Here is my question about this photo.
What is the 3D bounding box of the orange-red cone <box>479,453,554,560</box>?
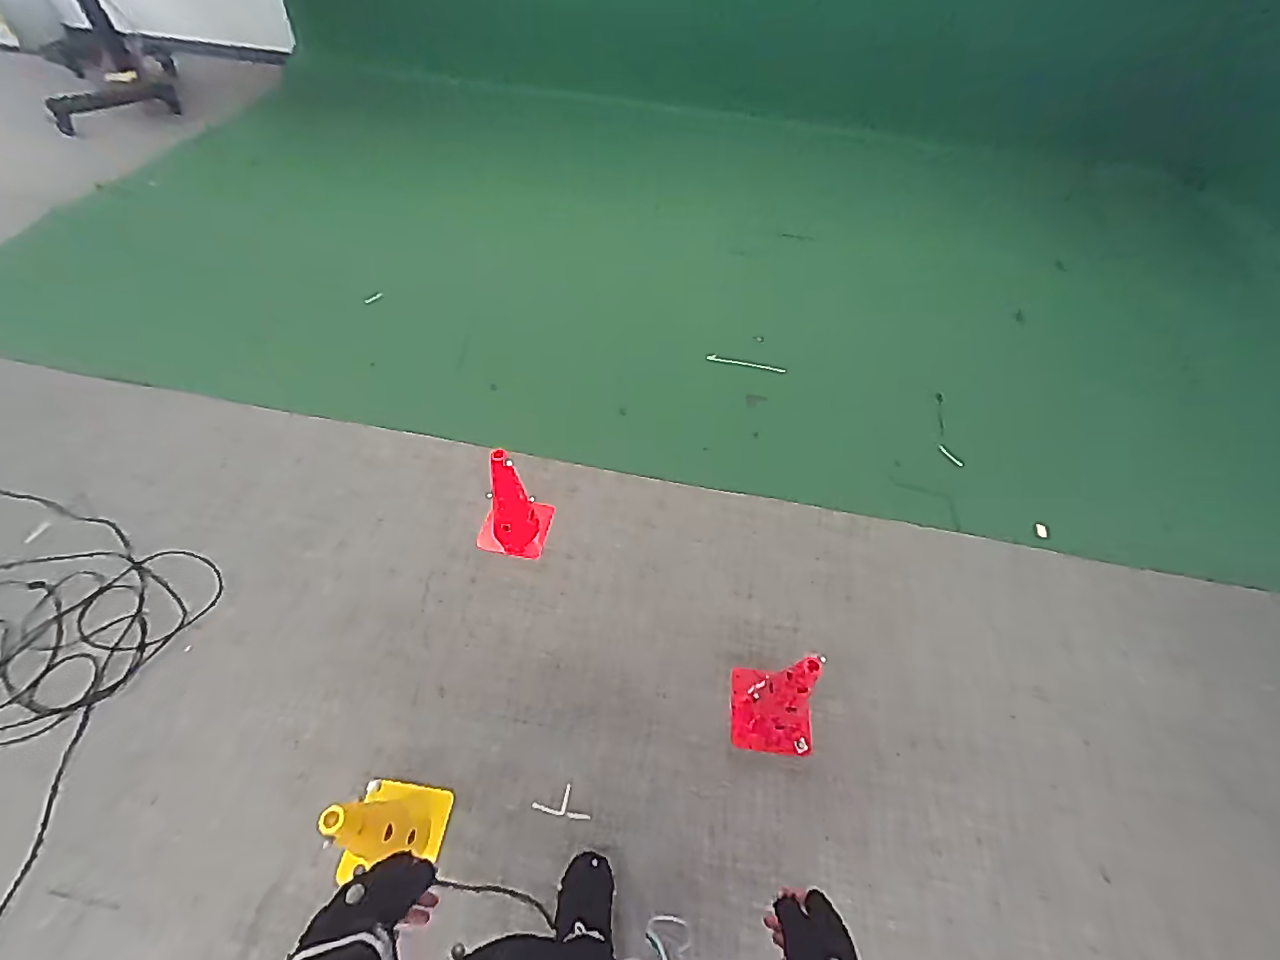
[{"bbox_3d":[-0.377,0.050,1.543,0.198,0.360,0.199,10,54,5],"label":"orange-red cone"}]

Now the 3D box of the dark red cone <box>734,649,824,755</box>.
[{"bbox_3d":[0.344,0.477,1.232,0.202,0.394,0.201,6,51,1],"label":"dark red cone"}]
